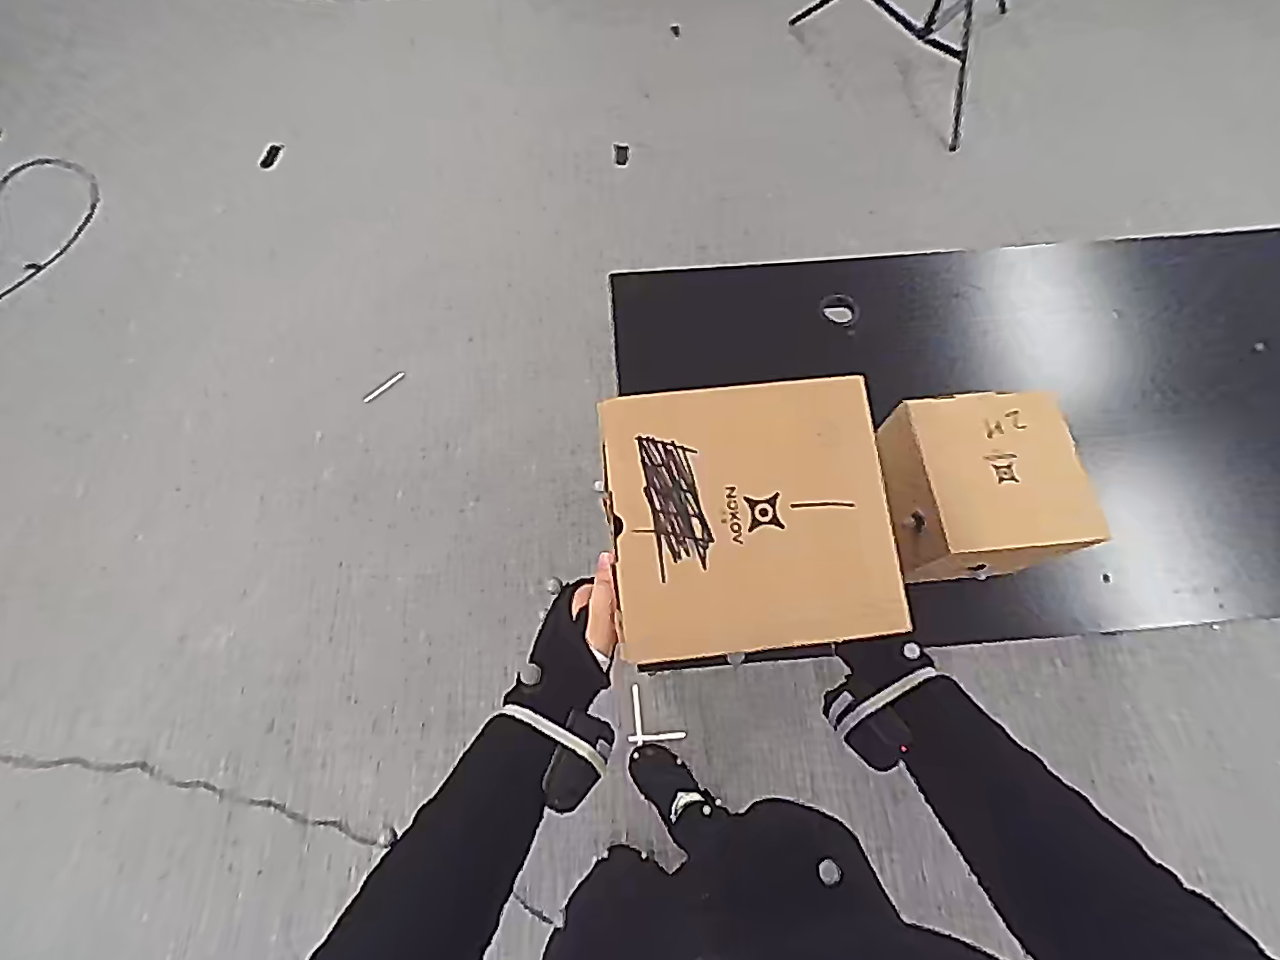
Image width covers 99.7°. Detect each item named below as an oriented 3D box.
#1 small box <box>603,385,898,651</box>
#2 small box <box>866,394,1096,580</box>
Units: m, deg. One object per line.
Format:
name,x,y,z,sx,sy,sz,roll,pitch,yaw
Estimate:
small box,0.068,0.037,0.429,0.179,0.176,0.168,-5,79,-3
small box,0.374,0.019,0.649,0.168,0.176,0.179,-5,68,-2
